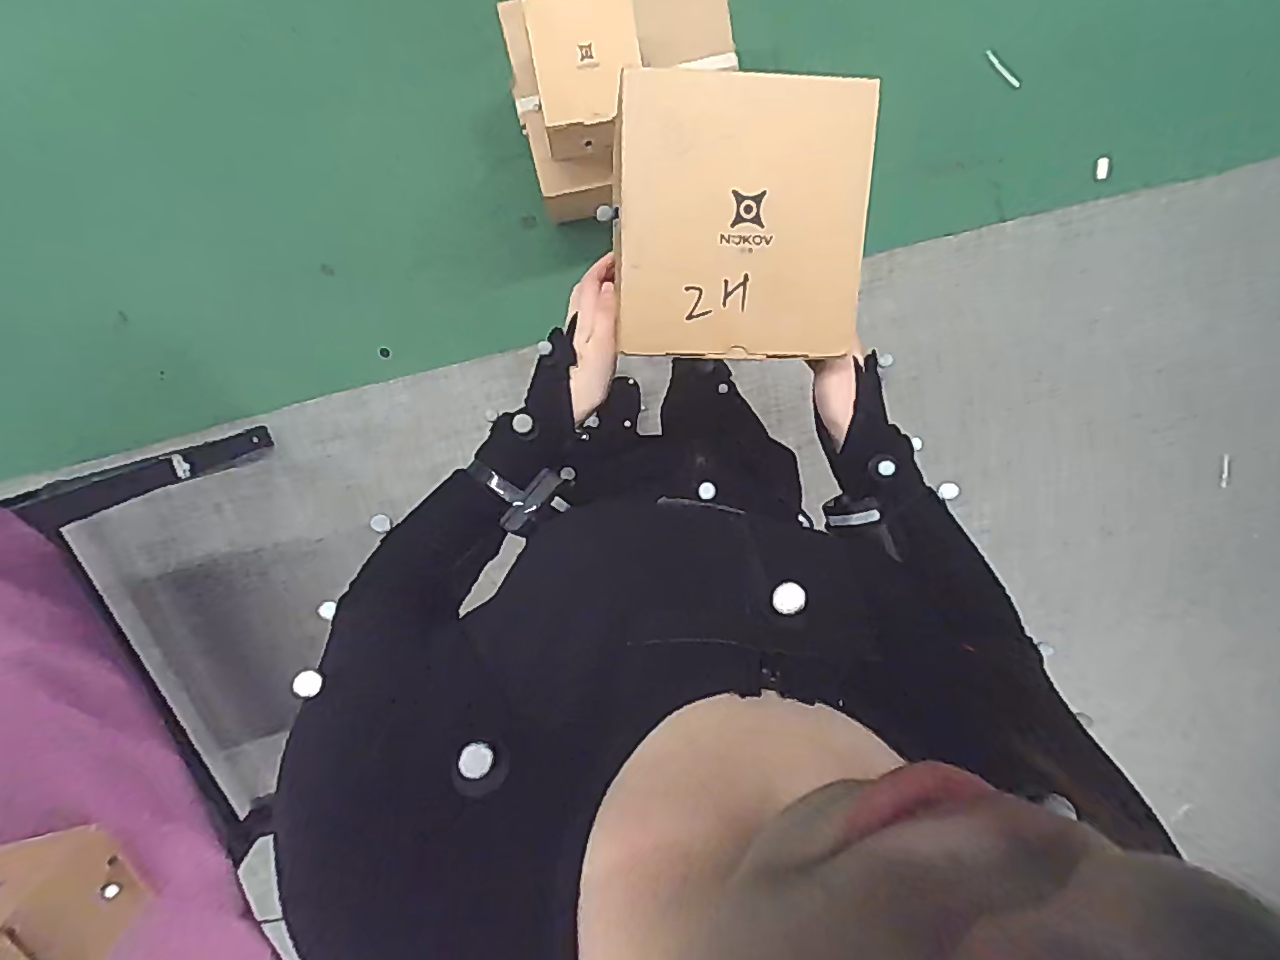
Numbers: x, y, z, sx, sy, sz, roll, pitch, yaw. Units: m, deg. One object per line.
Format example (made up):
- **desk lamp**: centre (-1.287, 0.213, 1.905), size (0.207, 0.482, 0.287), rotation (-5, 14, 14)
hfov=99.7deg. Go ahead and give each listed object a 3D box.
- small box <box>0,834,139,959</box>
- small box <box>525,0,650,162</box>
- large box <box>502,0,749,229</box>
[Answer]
- **small box**: centre (-0.883, 0.644, 0.758), size (0.179, 0.176, 0.168), rotation (-13, 107, -1)
- **small box**: centre (-0.085, -0.653, 0.890), size (0.168, 0.176, 0.179), rotation (-11, 107, -3)
- **large box**: centre (-0.031, -0.750, 1.121), size (0.408, 0.320, 0.320), rotation (-13, 107, -2)
